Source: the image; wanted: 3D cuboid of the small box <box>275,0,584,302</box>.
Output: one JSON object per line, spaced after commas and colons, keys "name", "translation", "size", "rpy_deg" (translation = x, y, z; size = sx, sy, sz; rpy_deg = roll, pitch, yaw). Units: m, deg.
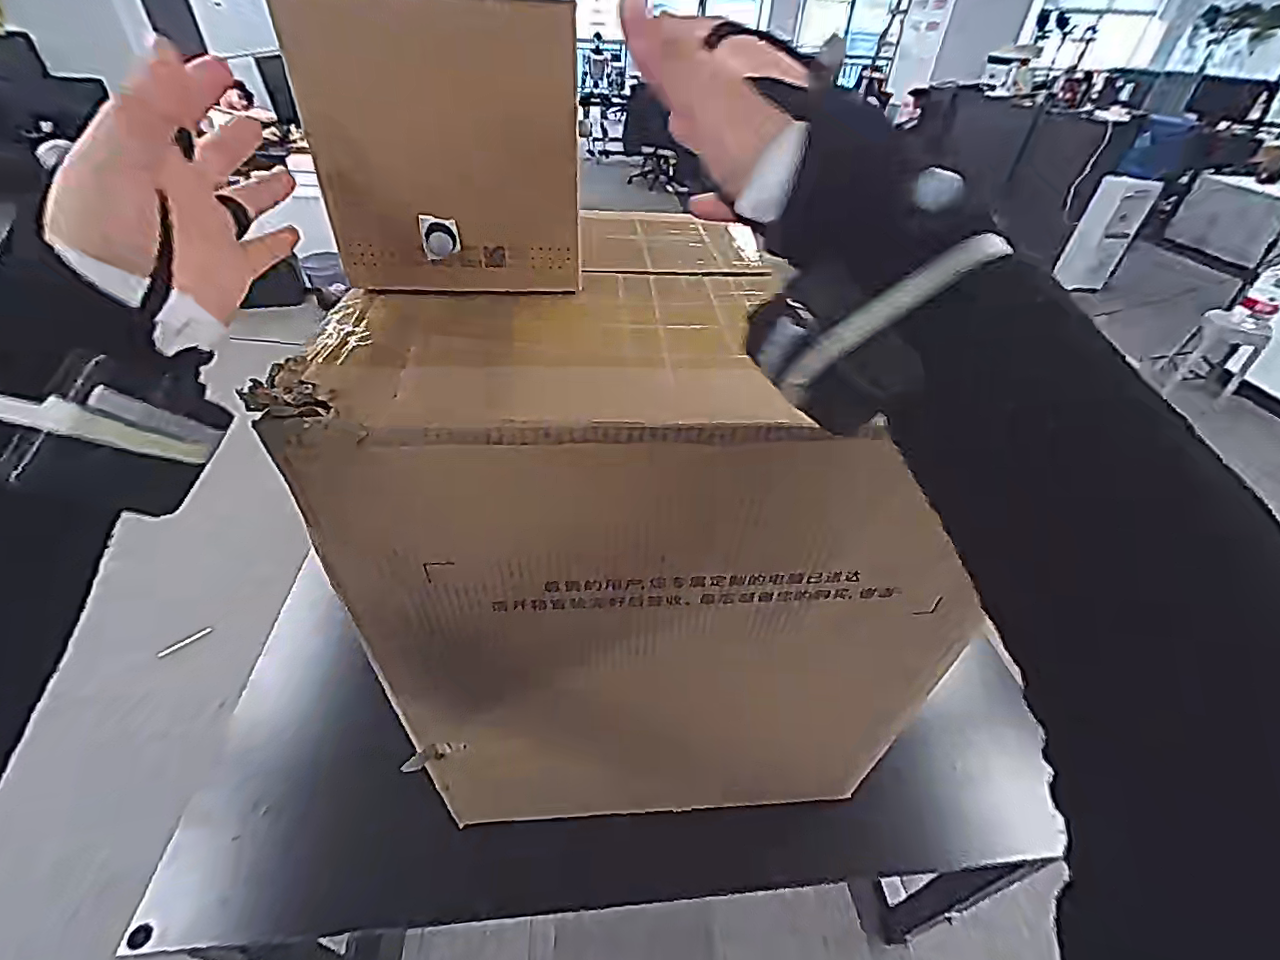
{"name": "small box", "translation": [-0.131, -0.248, 0.411], "size": [0.168, 0.176, 0.179], "rpy_deg": [-4, 41, -8]}
